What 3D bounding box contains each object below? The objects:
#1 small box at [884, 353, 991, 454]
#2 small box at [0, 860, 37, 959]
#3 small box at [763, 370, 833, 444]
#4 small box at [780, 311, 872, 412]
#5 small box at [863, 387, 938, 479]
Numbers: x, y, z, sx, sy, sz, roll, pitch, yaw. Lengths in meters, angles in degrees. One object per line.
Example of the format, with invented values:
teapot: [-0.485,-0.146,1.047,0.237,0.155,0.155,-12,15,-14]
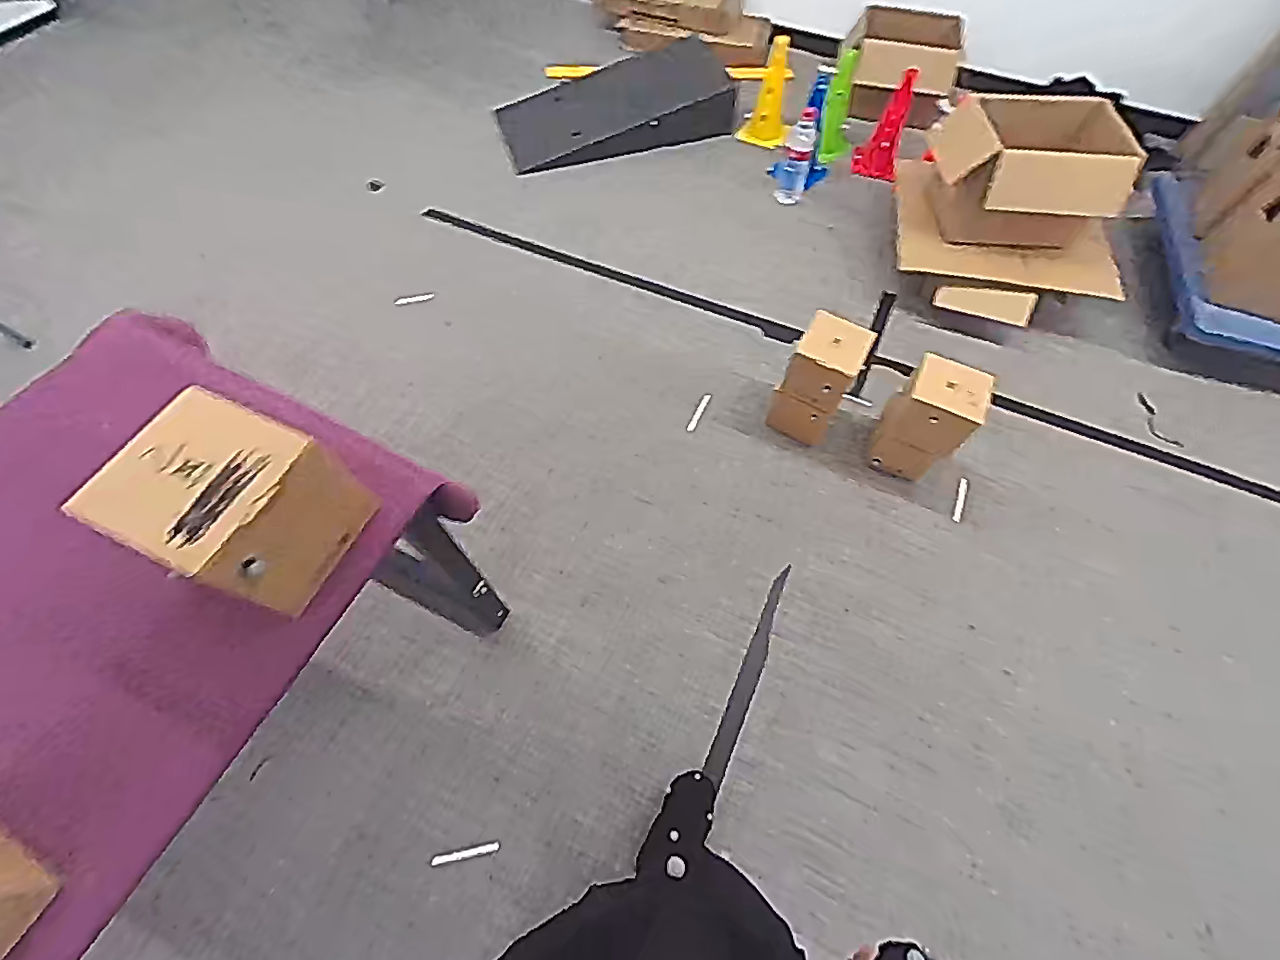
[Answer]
small box: [0.771,-0.193,1.415,0.179,0.176,0.168,25,65,10]
small box: [-0.652,0.389,0.419,0.168,0.176,0.179,25,63,11]
small box: [0.489,-0.236,1.618,0.179,0.176,0.168,28,64,13]
small box: [0.500,-0.317,1.478,0.168,0.176,0.179,27,63,11]
small box: [0.769,-0.131,1.568,0.168,0.176,0.179,22,63,9]
